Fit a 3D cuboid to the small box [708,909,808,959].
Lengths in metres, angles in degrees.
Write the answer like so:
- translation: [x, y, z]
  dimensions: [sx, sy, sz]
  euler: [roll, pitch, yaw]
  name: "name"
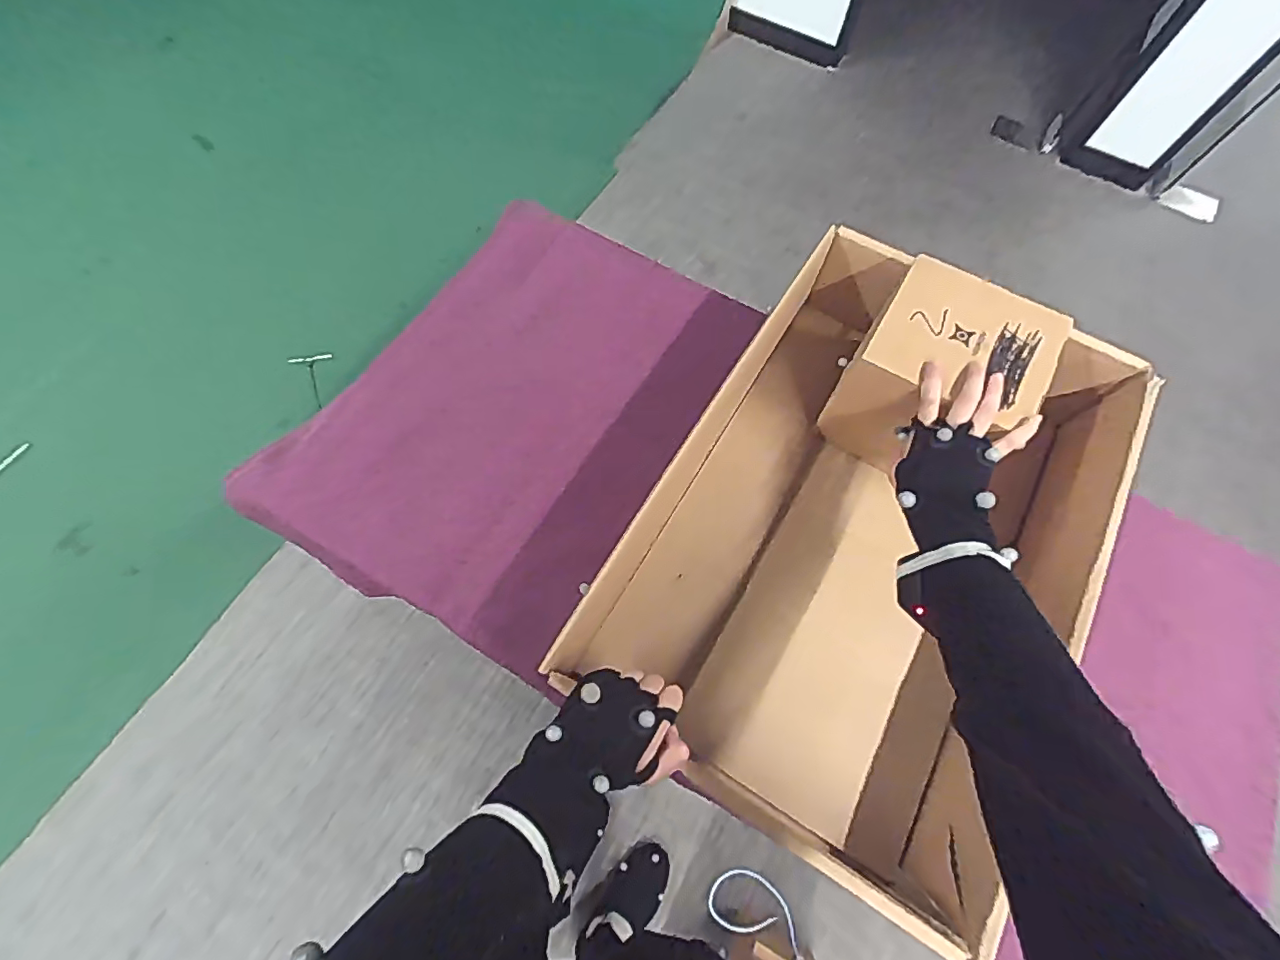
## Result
- translation: [0.235, 0.983, 1.043]
  dimensions: [0.179, 0.176, 0.168]
  euler: [28, 70, 9]
  name: "small box"
